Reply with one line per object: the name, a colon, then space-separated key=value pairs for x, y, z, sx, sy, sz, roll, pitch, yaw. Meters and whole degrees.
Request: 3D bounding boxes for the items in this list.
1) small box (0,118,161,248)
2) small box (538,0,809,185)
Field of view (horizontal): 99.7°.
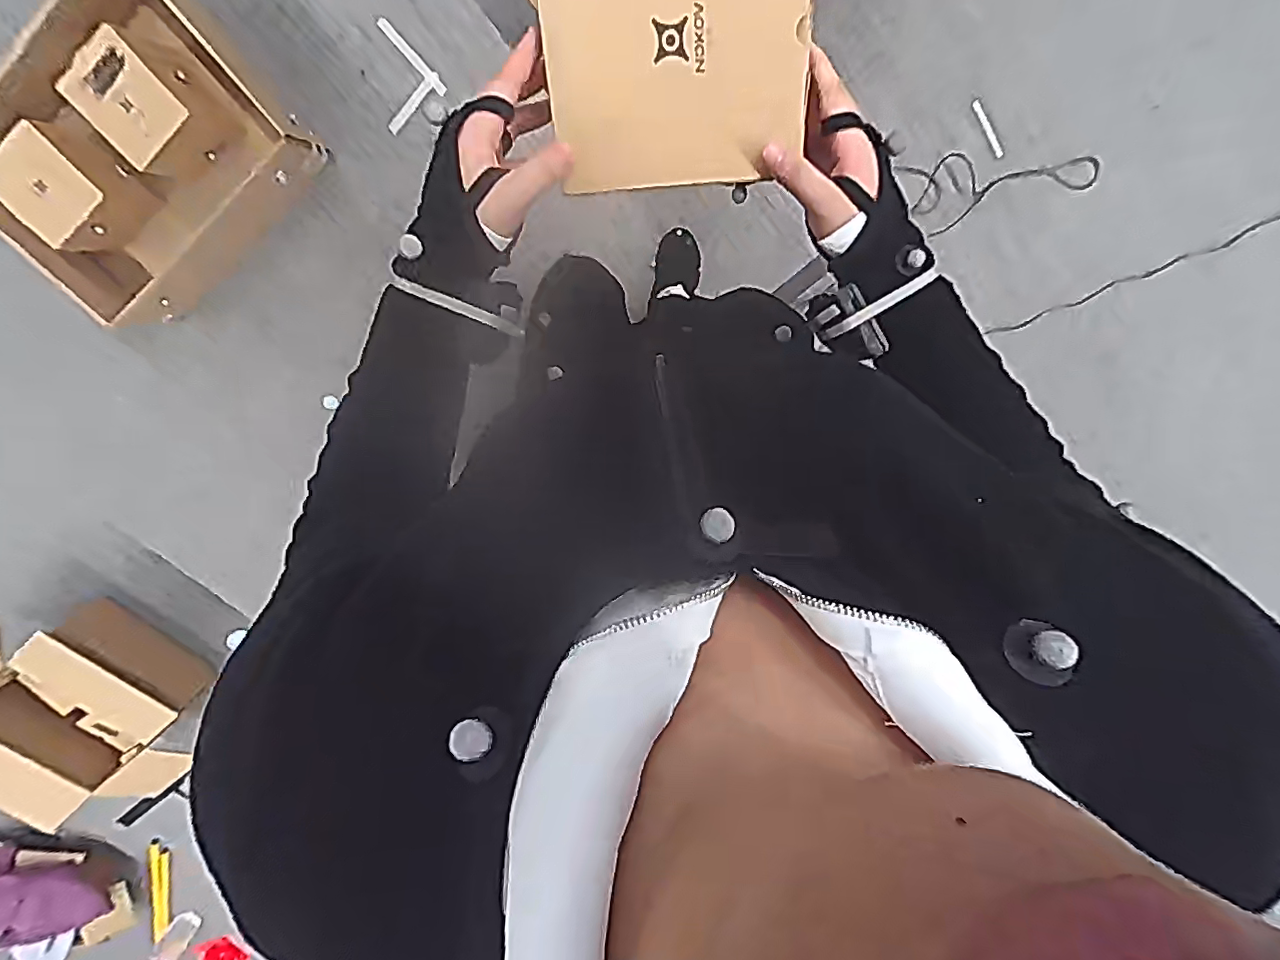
small box: x=-1.184 y=-0.614 z=1.141 sx=0.179 sy=0.176 sz=0.168 roll=-35 pitch=112 yaw=12
small box: x=0.019 y=-0.331 z=0.422 sx=0.179 sy=0.176 sz=0.168 roll=-6 pitch=118 yaw=-1
